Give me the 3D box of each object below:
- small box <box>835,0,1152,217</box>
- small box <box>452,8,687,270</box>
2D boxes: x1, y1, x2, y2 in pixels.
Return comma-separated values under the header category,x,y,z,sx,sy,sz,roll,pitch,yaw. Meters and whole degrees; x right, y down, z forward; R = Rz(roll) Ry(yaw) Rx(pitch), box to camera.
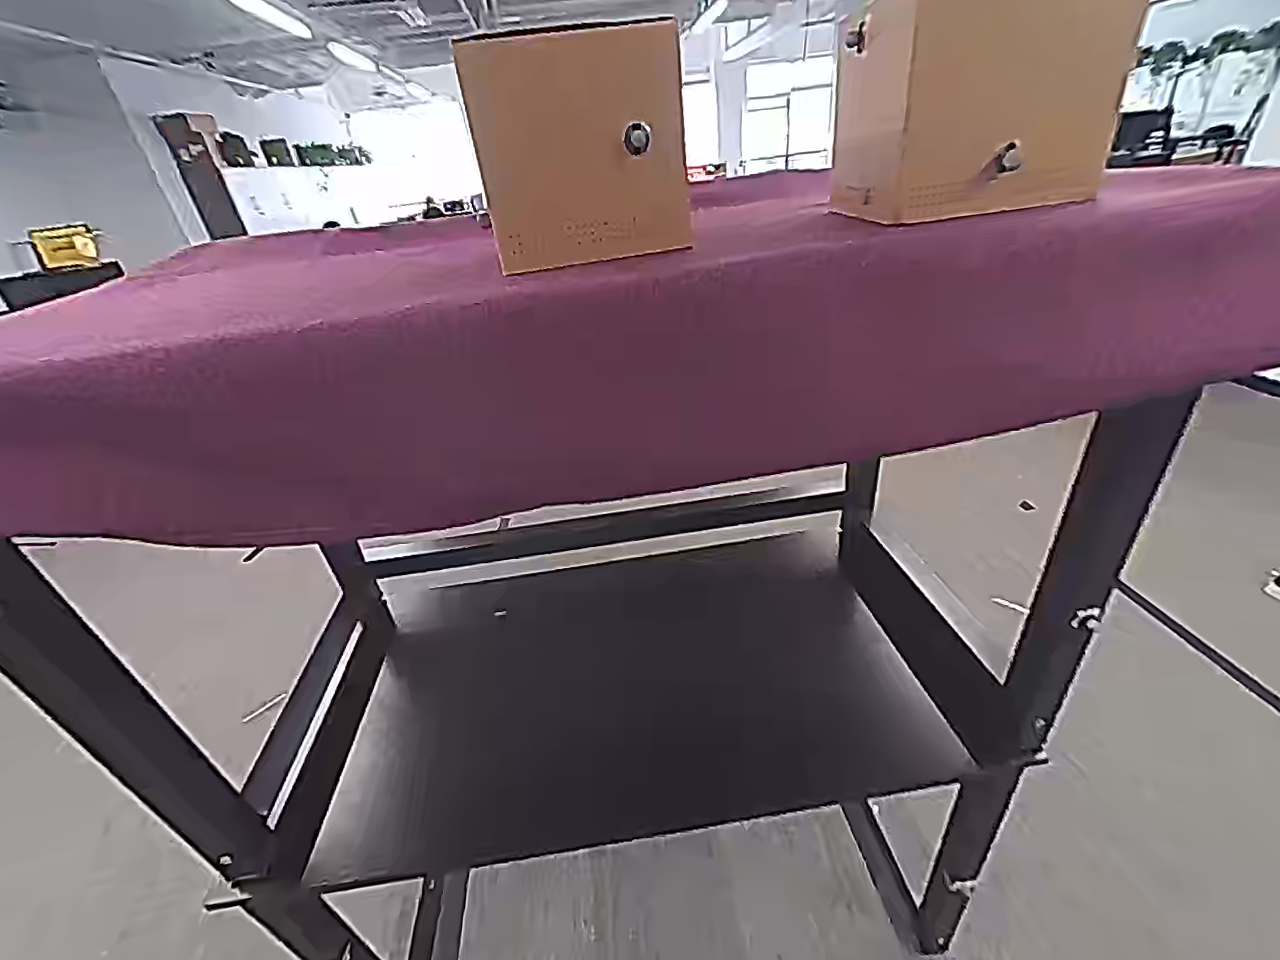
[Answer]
category,x,y,z,sx,sy,sz,roll,pitch,yaw
small box,0.289,-0.343,0.481,0.179,0.176,0.168,-7,30,1
small box,-0.057,-0.307,0.507,0.179,0.176,0.168,-12,30,-6
